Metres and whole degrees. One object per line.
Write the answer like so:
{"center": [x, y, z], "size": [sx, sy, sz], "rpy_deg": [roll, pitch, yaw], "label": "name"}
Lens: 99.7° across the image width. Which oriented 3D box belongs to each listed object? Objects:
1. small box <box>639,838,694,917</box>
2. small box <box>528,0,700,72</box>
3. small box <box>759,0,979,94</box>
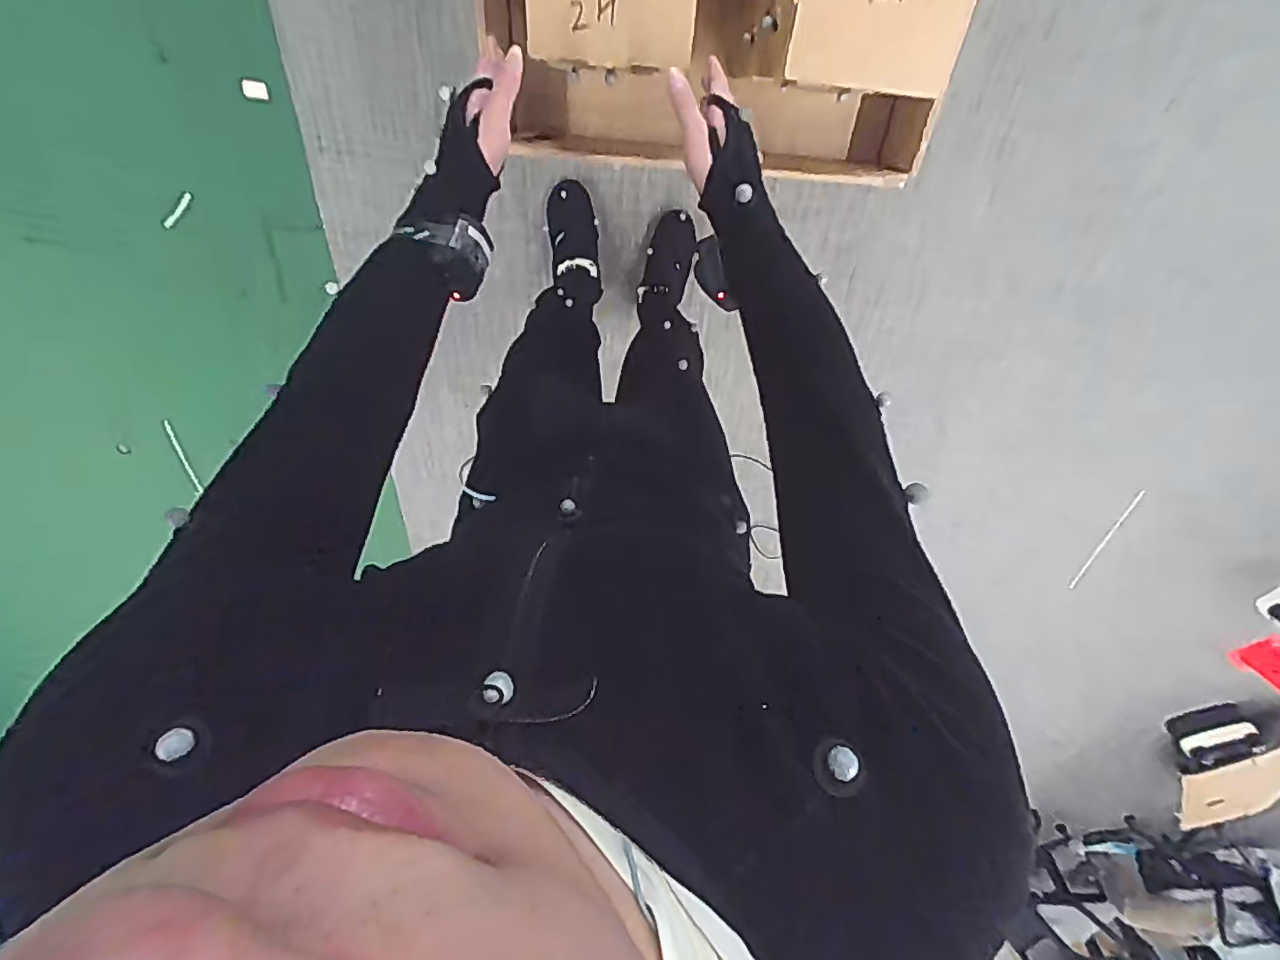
{"center": [0.080, 1.276, 1.742], "size": [0.168, 0.176, 0.179], "rpy_deg": [-1, 128, 0], "label": "small box"}
{"center": [-0.023, -0.534, 0.551], "size": [0.168, 0.176, 0.179], "rpy_deg": [3, 127, -3], "label": "small box"}
{"center": [0.238, -0.521, 0.571], "size": [0.179, 0.176, 0.168], "rpy_deg": [4, 128, -5], "label": "small box"}
